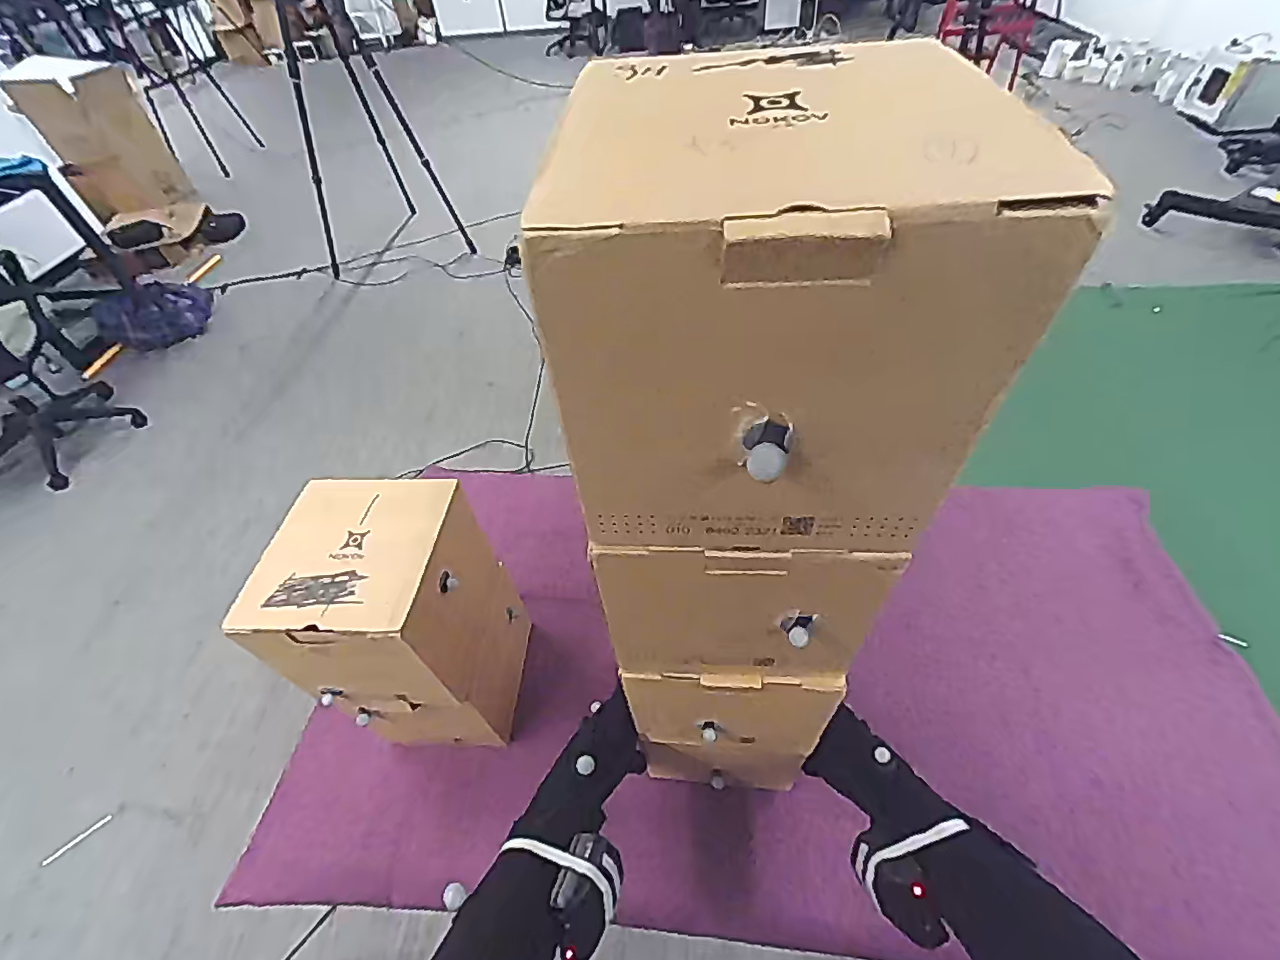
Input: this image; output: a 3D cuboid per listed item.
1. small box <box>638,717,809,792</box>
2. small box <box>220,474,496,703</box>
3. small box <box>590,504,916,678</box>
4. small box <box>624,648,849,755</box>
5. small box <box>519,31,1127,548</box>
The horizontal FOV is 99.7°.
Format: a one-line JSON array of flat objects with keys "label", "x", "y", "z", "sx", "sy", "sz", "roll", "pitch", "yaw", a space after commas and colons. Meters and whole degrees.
[{"label": "small box", "x": 0.095, "y": 0.240, "z": 0.628, "sx": 0.168, "sy": 0.176, "sz": 0.179, "roll": 2, "pitch": 51, "yaw": 9}, {"label": "small box", "x": -0.264, "y": 0.116, "z": 0.564, "sx": 0.168, "sy": 0.176, "sz": 0.179, "roll": 3, "pitch": 50, "yaw": 6}, {"label": "small box", "x": 0.067, "y": 0.027, "z": 0.383, "sx": 0.168, "sy": 0.176, "sz": 0.179, "roll": 1, "pitch": 50, "yaw": 5}, {"label": "small box", "x": 0.082, "y": 0.135, "z": 0.504, "sx": 0.168, "sy": 0.176, "sz": 0.179, "roll": 1, "pitch": 51, "yaw": 7}, {"label": "small box", "x": 0.057, "y": -0.081, "z": 0.259, "sx": 0.168, "sy": 0.176, "sz": 0.179, "roll": 1, "pitch": 52, "yaw": 5}]
